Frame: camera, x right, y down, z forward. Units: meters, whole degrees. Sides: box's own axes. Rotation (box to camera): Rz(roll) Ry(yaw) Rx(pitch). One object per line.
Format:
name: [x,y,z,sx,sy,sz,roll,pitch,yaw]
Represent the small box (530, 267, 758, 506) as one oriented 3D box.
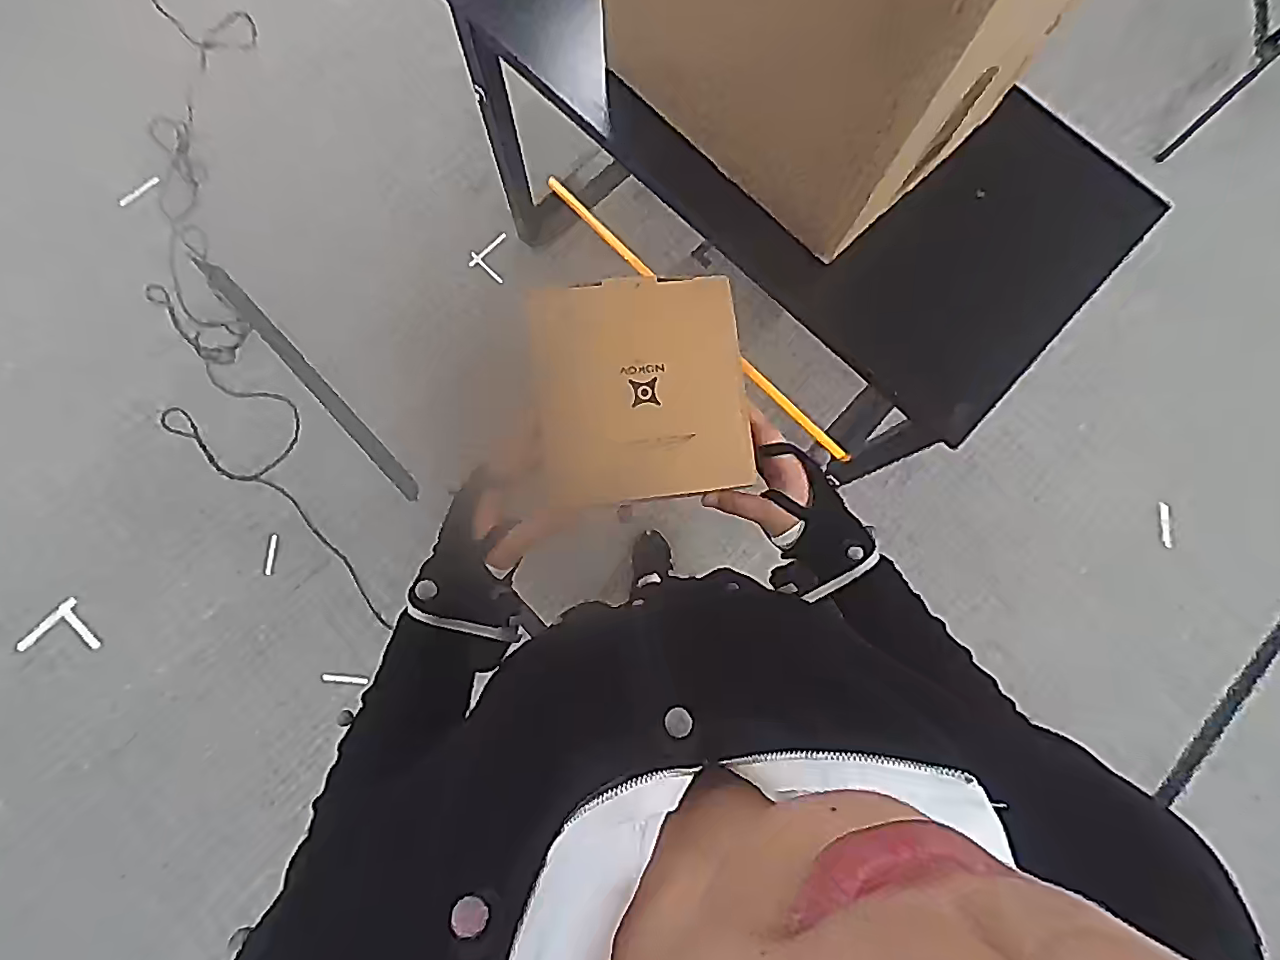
small box: [-0.008,-0.072,0.495,0.168,0.176,0.179,-7,88,-9]
